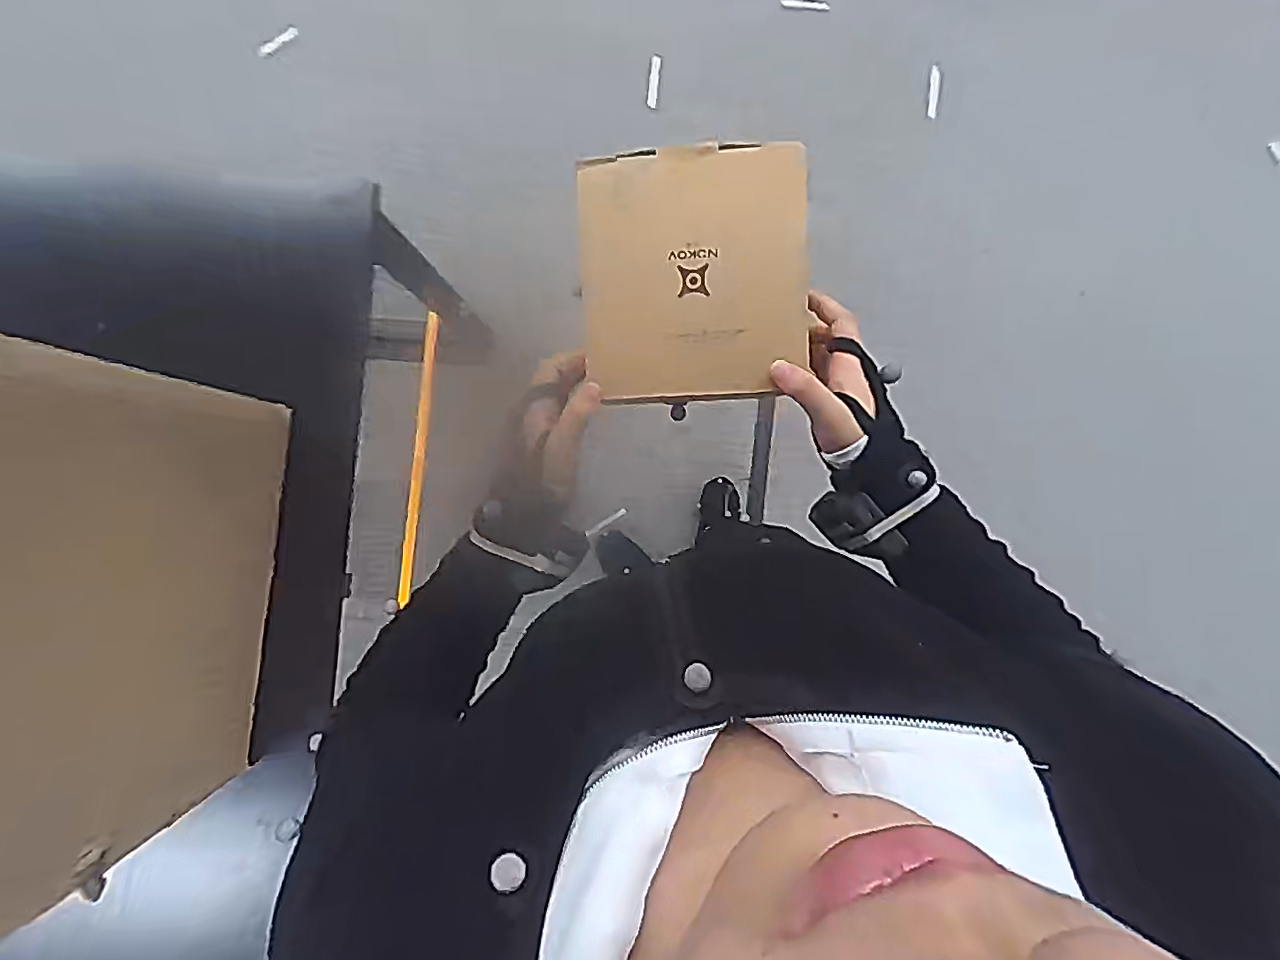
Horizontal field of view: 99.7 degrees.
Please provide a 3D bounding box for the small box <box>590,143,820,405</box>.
[{"bbox_3d":[0.050,-0.156,0.468,0.168,0.176,0.179,-2,97,4],"label":"small box"}]
